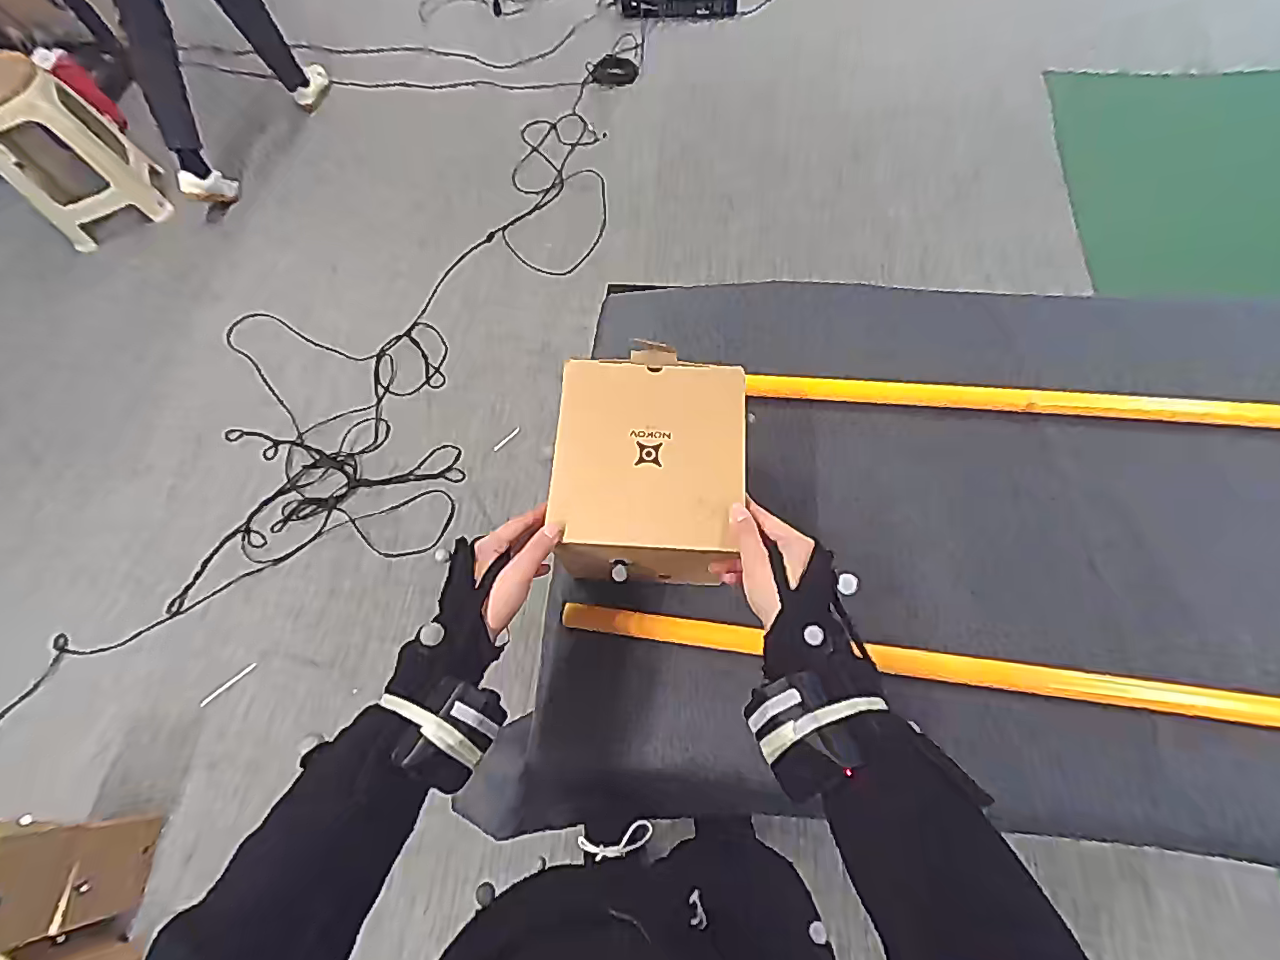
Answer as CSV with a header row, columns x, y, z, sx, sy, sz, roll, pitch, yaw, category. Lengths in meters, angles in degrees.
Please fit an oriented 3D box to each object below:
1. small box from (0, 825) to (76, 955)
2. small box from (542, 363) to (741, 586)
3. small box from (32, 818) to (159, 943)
x,y,z,sx,sy,sz,roll,pitch,yaw,category
-1.143,0.707,0.921,0.168,0.176,0.179,0,64,4,small box
0.008,0.004,0.540,0.168,0.176,0.179,2,68,2,small box
-1.124,0.786,1.069,0.179,0.176,0.168,-7,68,2,small box
